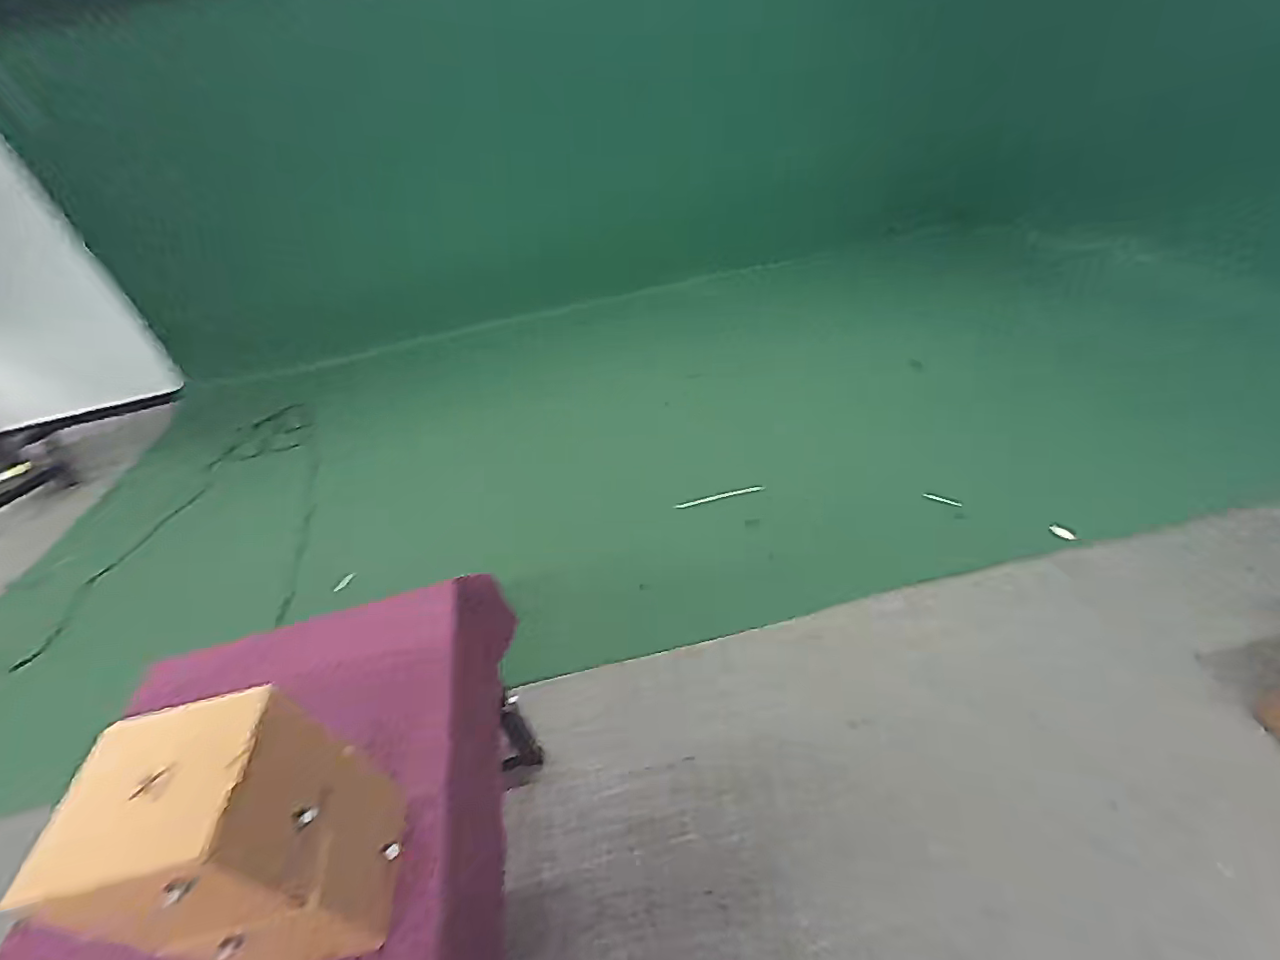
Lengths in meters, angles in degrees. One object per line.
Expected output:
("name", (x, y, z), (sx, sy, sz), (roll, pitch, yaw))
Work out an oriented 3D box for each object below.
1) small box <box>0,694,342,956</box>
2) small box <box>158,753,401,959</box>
("small box", (-0.455, 0.360, 0.566), (0.179, 0.176, 0.168), (-14, 39, -3))
("small box", (-0.418, 0.480, 0.670), (0.168, 0.176, 0.179), (-15, 38, -3))
